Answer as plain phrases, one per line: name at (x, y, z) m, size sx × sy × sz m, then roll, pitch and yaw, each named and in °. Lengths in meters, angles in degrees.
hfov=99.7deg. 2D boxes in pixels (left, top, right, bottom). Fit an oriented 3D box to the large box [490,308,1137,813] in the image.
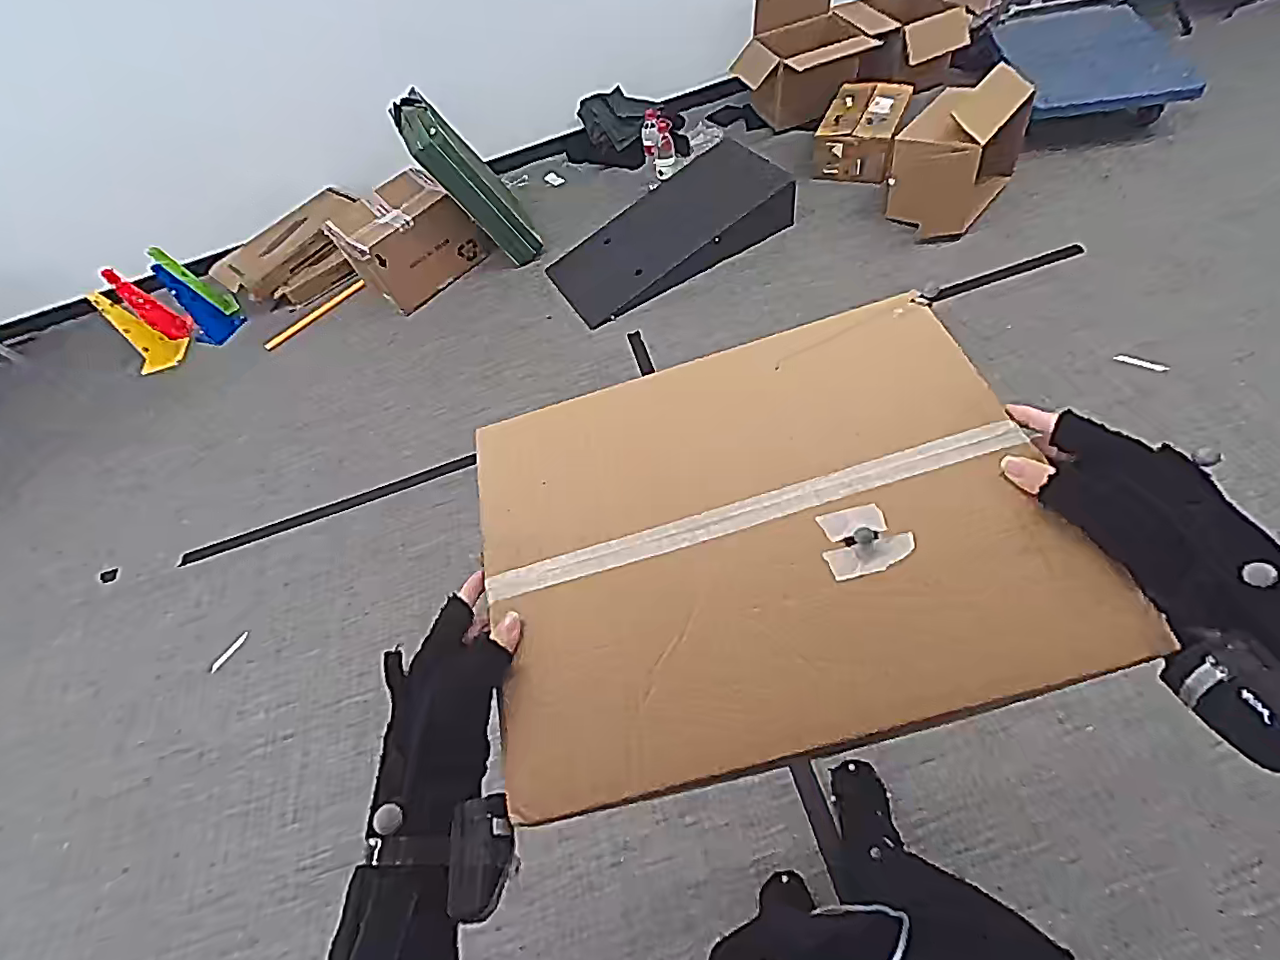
large box at (0.111, 0.101, 0.542) m, size 0.408 × 0.320 × 0.320 m, roll -17°, pitch 60°, yaw 3°
